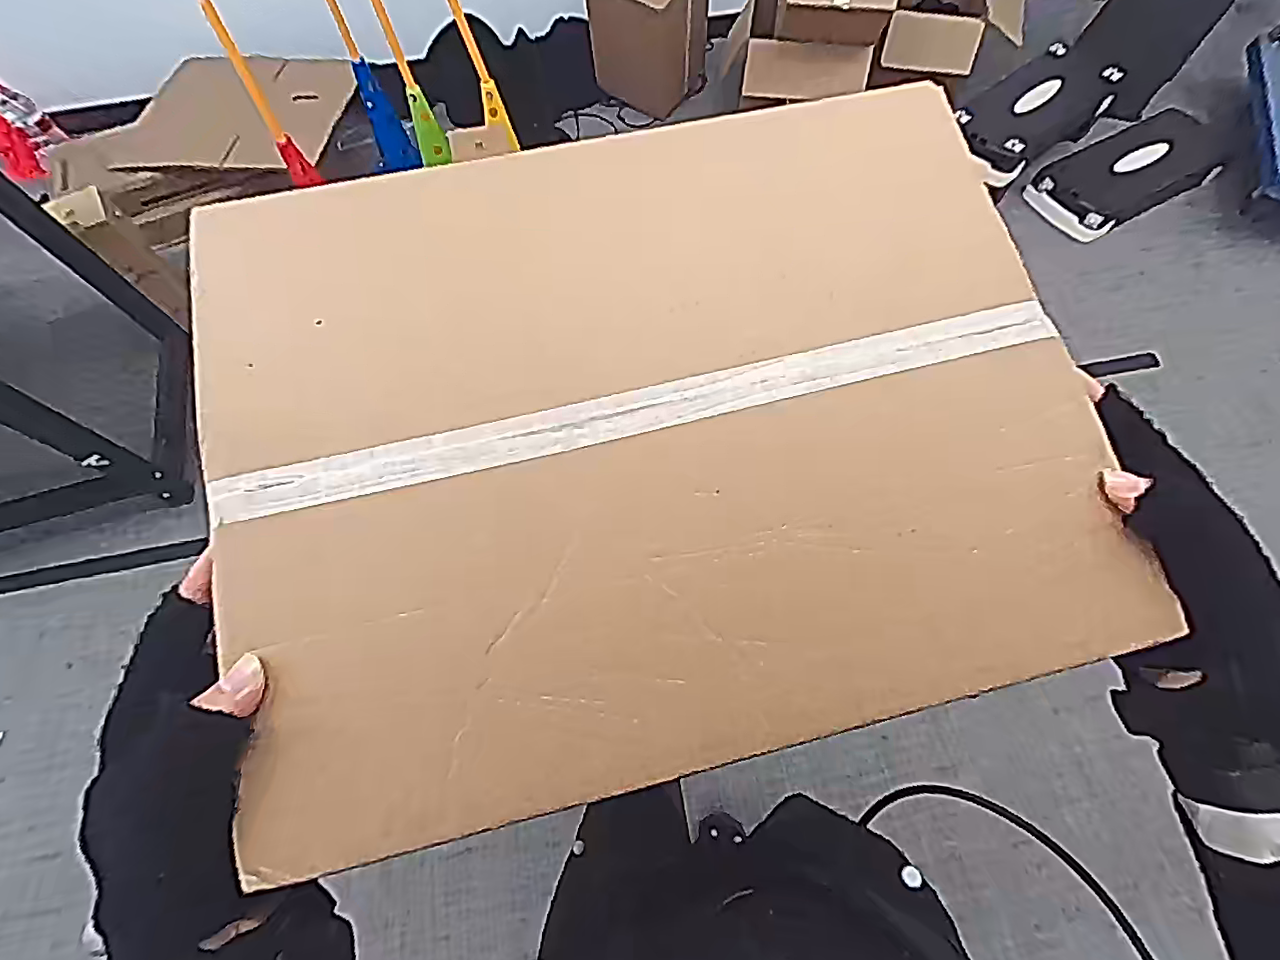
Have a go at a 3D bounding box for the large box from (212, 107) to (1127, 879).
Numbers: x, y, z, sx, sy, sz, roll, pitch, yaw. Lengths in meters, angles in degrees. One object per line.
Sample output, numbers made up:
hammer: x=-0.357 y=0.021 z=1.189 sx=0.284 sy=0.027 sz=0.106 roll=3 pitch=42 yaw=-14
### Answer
large box: x=0.001 y=0.005 z=0.413 sx=0.408 sy=0.320 sz=0.320 roll=-13 pitch=77 yaw=-4
